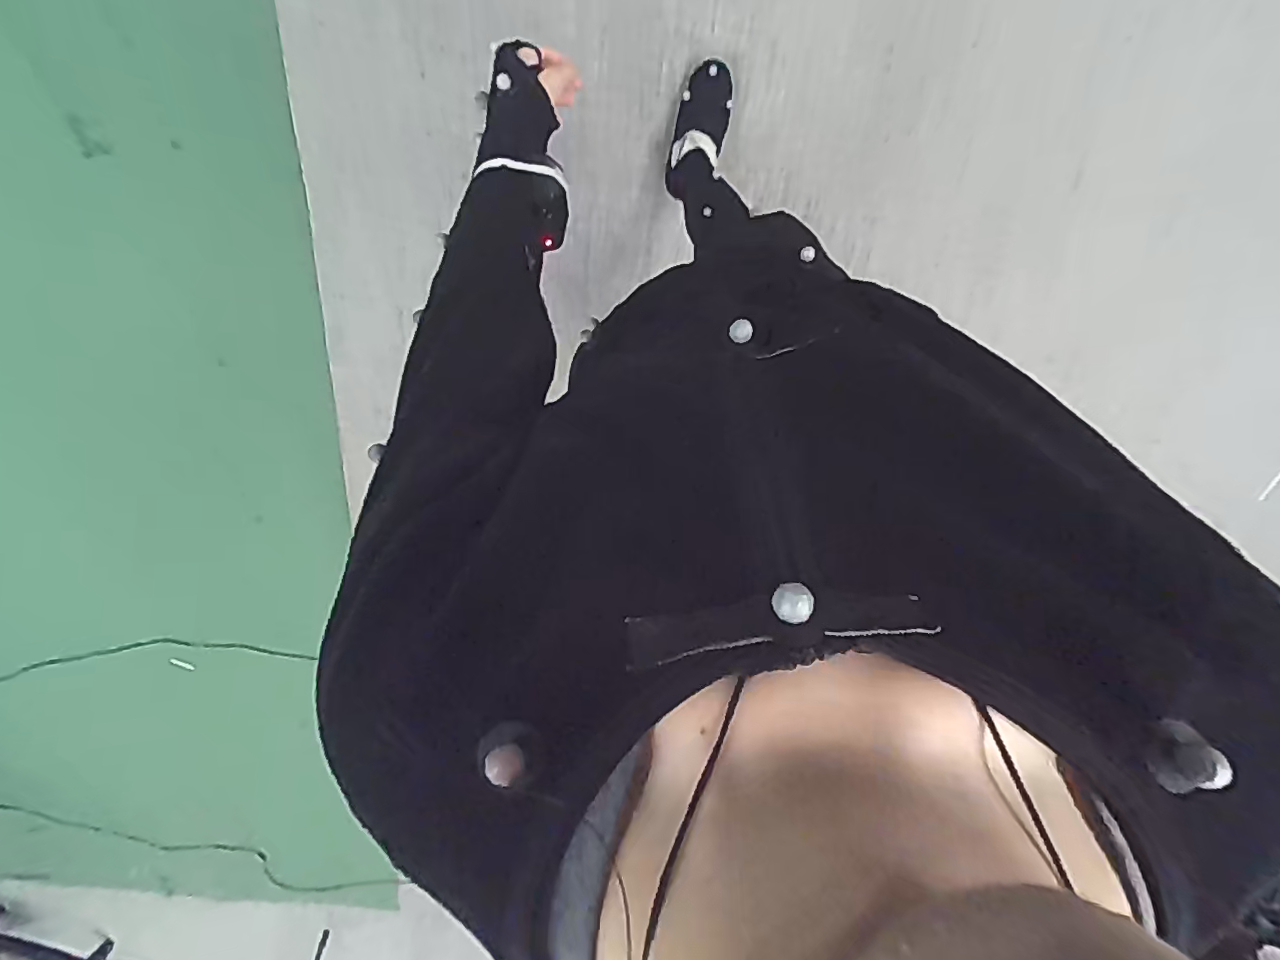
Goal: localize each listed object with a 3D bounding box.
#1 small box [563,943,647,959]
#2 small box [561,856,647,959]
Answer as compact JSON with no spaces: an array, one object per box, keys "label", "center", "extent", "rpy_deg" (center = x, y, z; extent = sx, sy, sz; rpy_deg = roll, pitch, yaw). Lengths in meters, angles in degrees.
[{"label":"small box","center":[-0.080,1.058,1.073],"extent":[0.179,0.176,0.168],"rpy_deg":[6,119,-4]},{"label":"small box","center":[-0.081,0.981,1.219],"extent":[0.179,0.176,0.168],"rpy_deg":[5,119,-3]}]
